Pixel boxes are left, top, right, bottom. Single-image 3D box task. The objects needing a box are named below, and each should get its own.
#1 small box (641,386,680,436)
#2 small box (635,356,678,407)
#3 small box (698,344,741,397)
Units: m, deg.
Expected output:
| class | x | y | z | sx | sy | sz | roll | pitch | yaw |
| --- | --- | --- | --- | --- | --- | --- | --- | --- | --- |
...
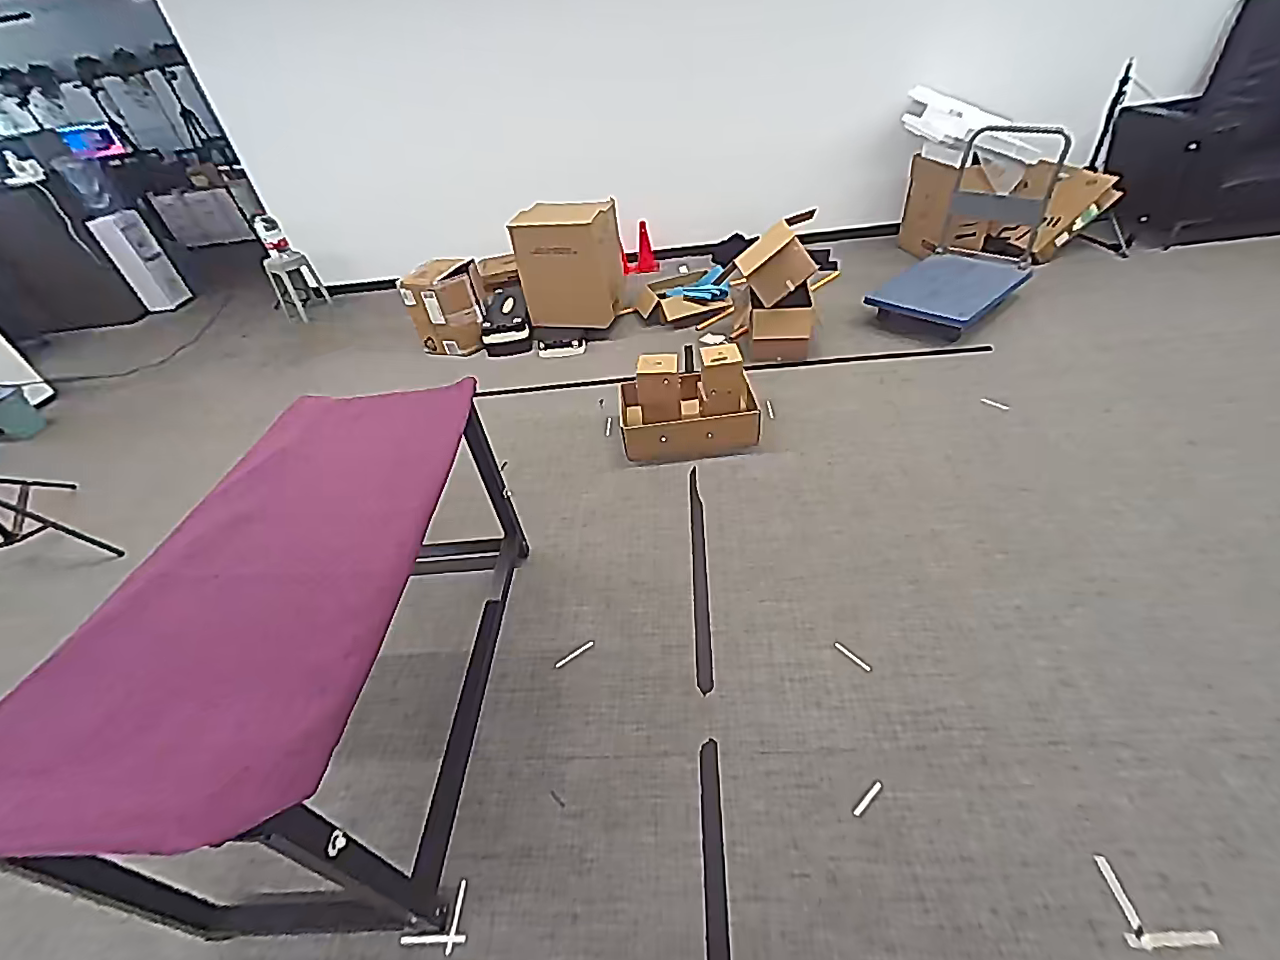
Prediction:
| class | x | y | z | sx | sy | sz | roll | pitch | yaw |
| --- | --- | --- | --- | --- | --- | --- | --- | --- | --- |
| small box | 0.099 | -0.324 | 2.532 | 0.168 | 0.176 | 0.179 | 1 | 40 | 9 |
| small box | 0.079 | -0.439 | 2.413 | 0.179 | 0.176 | 0.168 | -1 | 40 | 7 |
| small box | 0.356 | -0.481 | 2.409 | 0.168 | 0.176 | 0.179 | -7 | 39 | 2 |
